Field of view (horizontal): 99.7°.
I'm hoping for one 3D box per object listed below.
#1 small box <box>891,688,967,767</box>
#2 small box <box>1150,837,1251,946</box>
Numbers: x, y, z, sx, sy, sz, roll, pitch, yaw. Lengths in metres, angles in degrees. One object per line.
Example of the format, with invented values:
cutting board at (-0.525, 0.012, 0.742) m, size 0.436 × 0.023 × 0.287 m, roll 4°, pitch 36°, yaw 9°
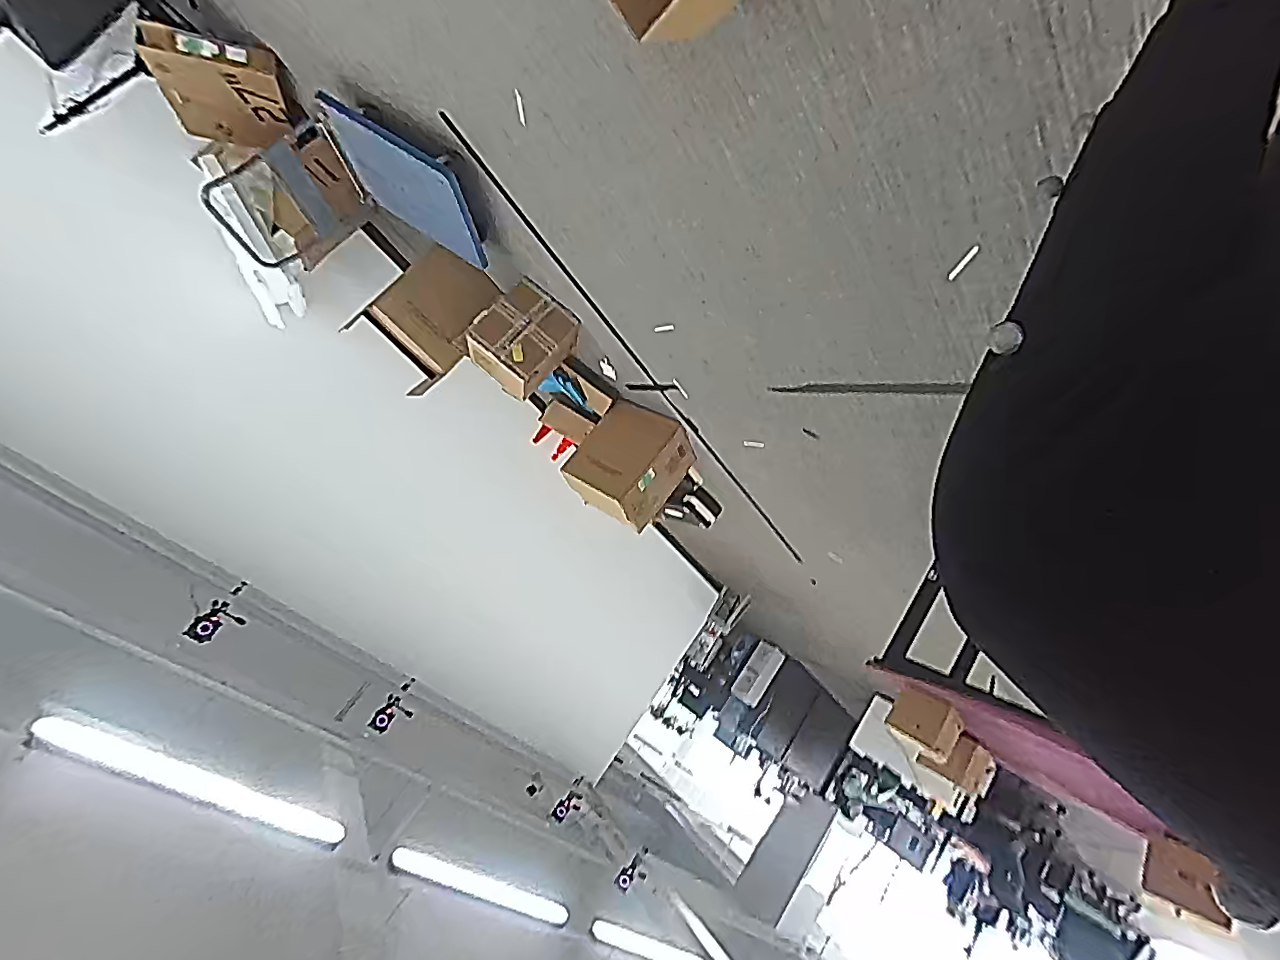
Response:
small box at (1.041, 0.879, 1.932) m, size 0.168 × 0.176 × 0.179 m, roll 46°, pitch 163°, yaw -32°
small box at (1.549, 1.138, 1.495) m, size 0.179 × 0.168 × 0.176 m, roll 6°, pitch 147°, yaw 50°
